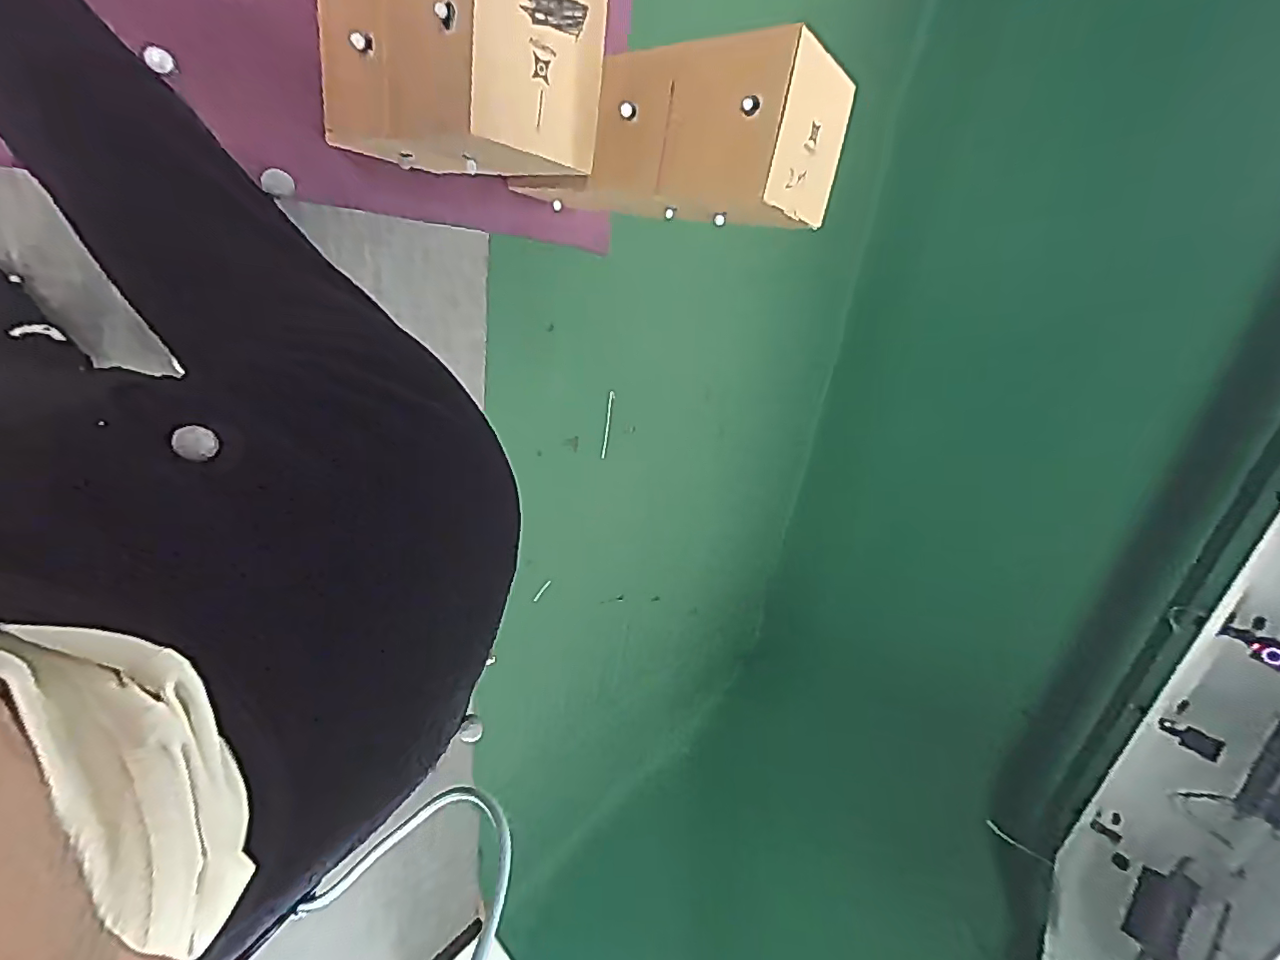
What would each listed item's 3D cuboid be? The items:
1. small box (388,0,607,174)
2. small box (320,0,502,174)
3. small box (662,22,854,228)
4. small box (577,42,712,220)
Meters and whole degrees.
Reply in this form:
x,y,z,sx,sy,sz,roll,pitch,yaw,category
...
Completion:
x,y,z,sx,sy,sz,roll,pitch,yaw,category
-0.160,-0.453,0.594,0.168,0.176,0.179,-15,121,-48,small box
-0.284,-0.505,0.688,0.168,0.176,0.179,-16,120,-47,small box
0.148,-0.445,0.707,0.168,0.176,0.179,-11,119,-48,small box
0.025,-0.499,0.802,0.168,0.176,0.179,-12,118,-48,small box
